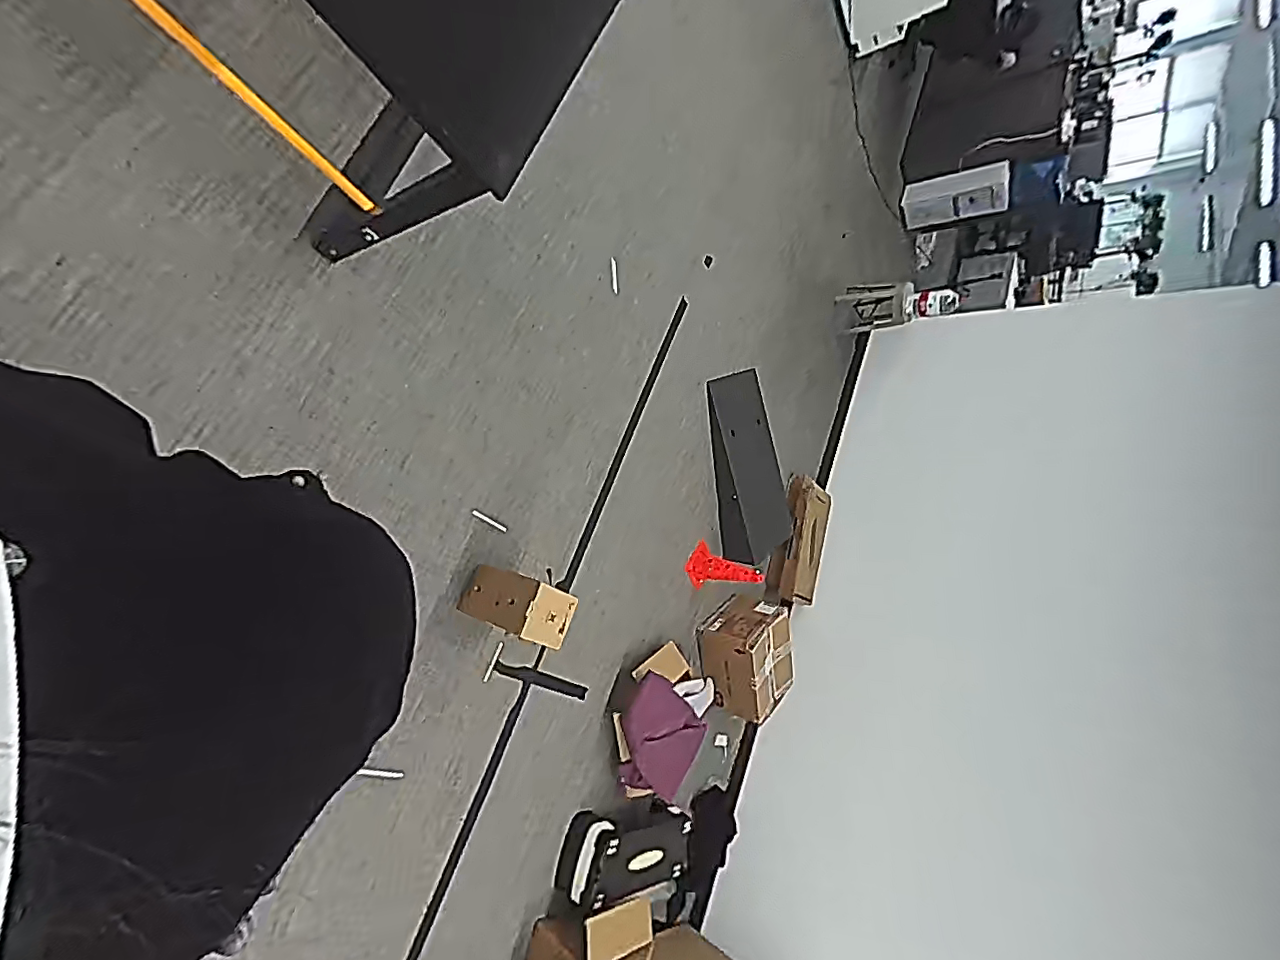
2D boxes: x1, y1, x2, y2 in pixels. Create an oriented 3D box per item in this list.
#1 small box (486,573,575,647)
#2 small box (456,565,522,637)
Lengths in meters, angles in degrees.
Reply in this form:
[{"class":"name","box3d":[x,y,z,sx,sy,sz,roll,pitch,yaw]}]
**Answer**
[{"class":"small box","box3d":[-0.337,0.392,1.648,0.179,0.176,0.168,39,65,-45]},{"class":"small box","box3d":[-0.458,0.389,1.759,0.179,0.176,0.168,42,63,-44]}]
